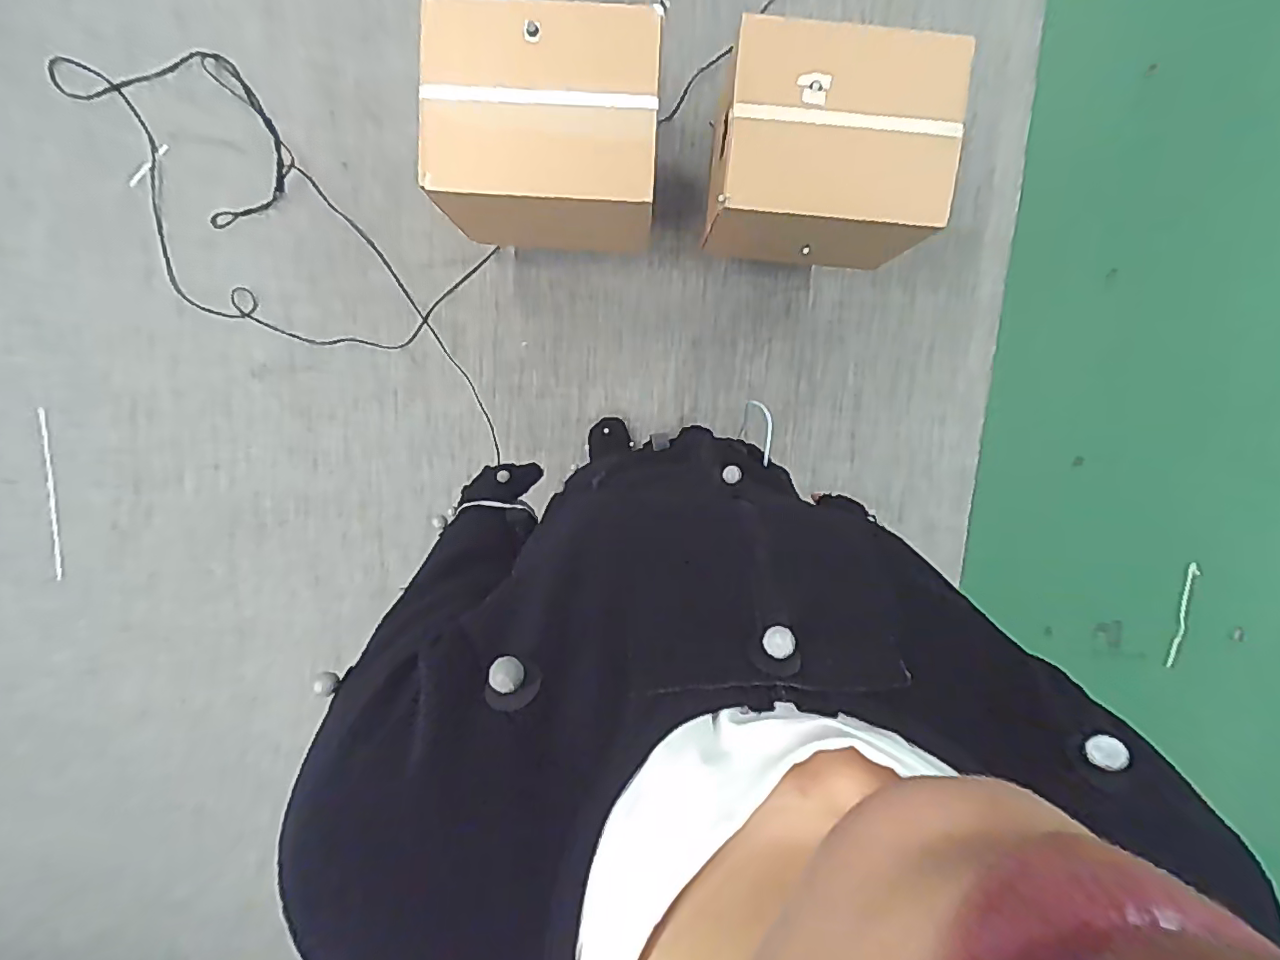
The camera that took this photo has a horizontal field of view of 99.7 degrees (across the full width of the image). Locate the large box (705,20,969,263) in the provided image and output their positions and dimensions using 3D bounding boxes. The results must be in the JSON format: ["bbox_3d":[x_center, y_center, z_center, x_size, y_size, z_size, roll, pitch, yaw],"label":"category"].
[{"bbox_3d":[0.361,-0.646,1.095,0.408,0.320,0.320,5,98,-1],"label":"large box"}]
